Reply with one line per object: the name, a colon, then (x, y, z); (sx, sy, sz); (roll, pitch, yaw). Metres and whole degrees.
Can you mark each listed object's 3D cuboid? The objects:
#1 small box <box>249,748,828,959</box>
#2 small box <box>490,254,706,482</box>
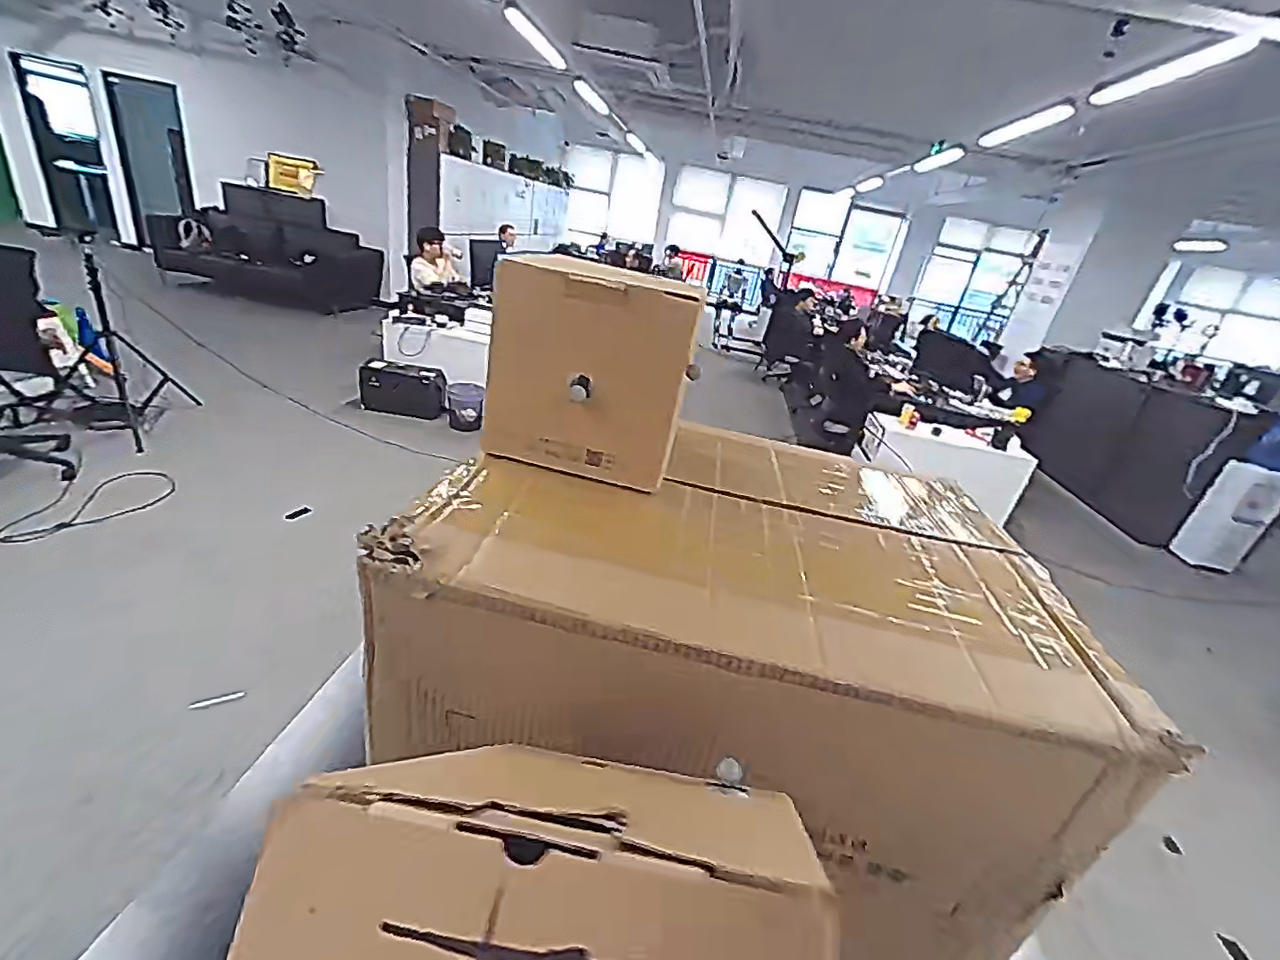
small box: (-0.025, 0.209, 0.203); (0.168, 0.176, 0.179); (2, 68, 13)
small box: (-0.037, -0.114, 0.526); (0.168, 0.176, 0.179); (13, 25, 3)
